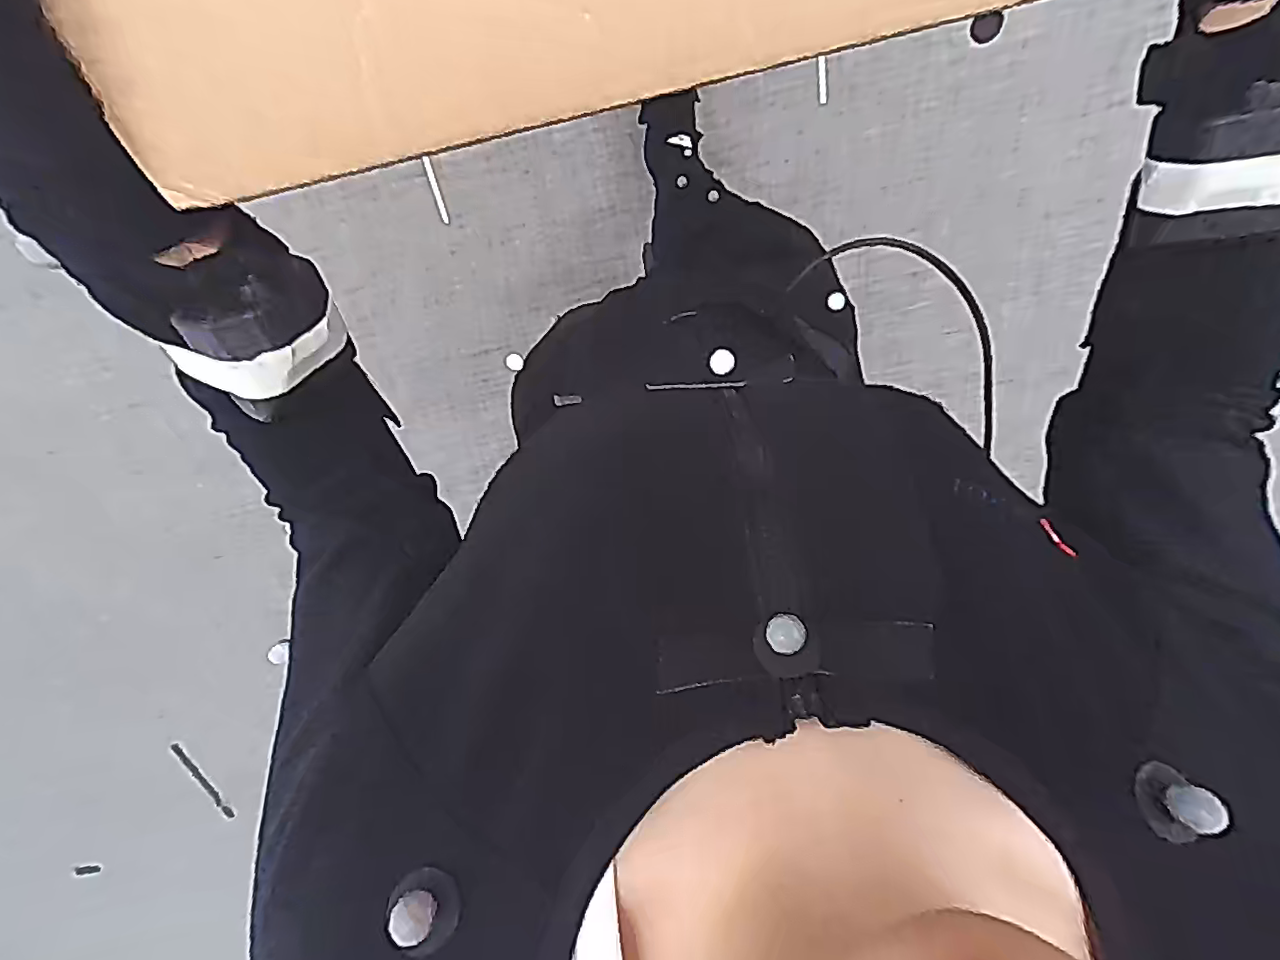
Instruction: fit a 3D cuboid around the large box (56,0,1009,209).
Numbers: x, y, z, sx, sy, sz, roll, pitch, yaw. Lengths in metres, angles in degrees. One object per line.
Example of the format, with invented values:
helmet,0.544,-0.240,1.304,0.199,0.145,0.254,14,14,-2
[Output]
large box,-0.023,-0.357,0.212,0.408,0.320,0.320,-13,130,2
